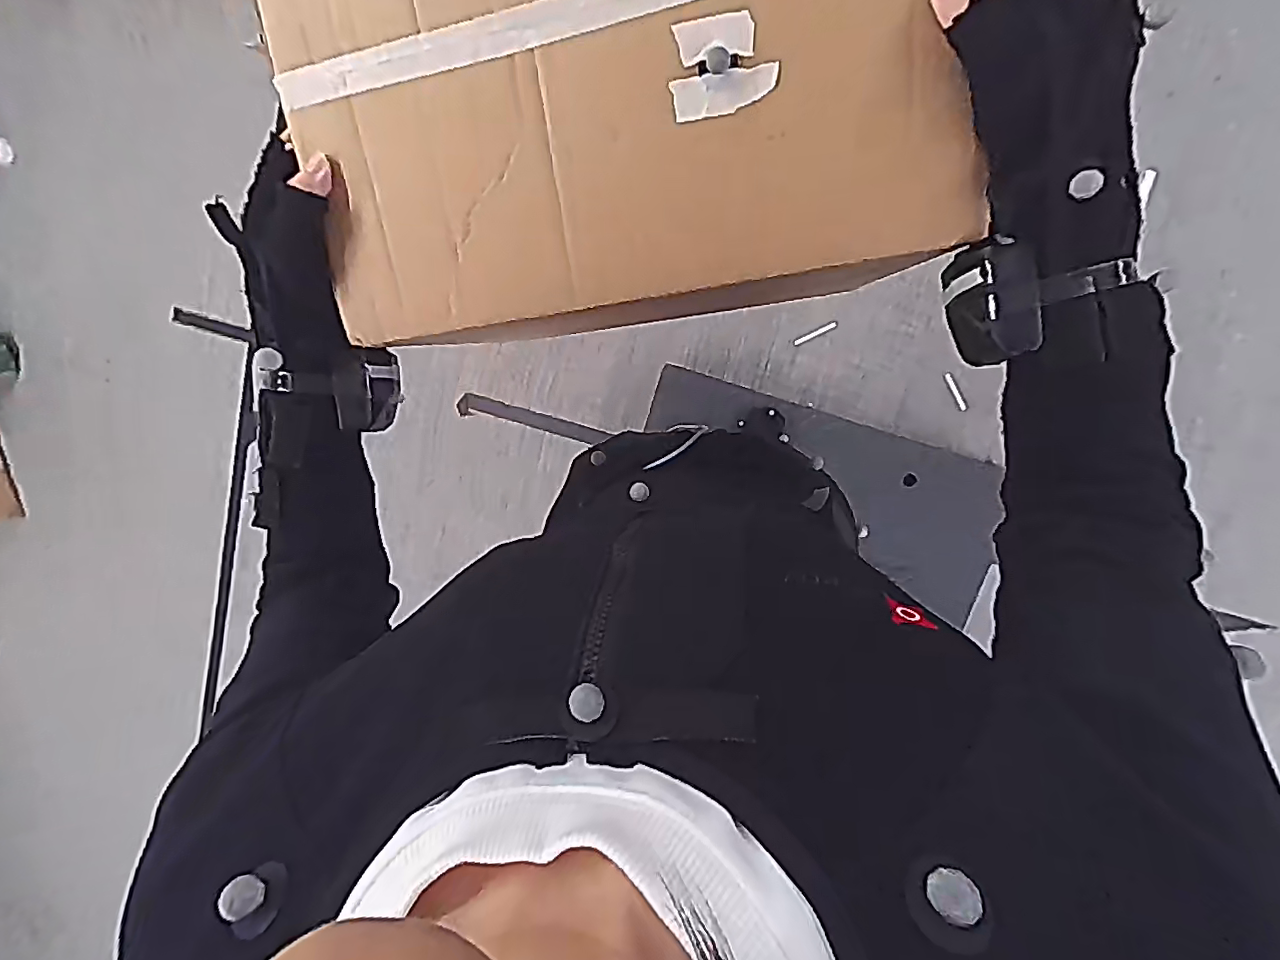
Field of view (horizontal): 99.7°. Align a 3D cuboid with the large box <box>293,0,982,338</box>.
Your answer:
[{"bbox_3d":[0.002,-0.309,0.459,0.408,0.320,0.320,-6,104,10],"label":"large box"}]

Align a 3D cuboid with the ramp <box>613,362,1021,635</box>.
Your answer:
[{"bbox_3d":[0.467,0.060,1.450,0.991,0.206,0.509,17,98,9],"label":"ramp"}]
